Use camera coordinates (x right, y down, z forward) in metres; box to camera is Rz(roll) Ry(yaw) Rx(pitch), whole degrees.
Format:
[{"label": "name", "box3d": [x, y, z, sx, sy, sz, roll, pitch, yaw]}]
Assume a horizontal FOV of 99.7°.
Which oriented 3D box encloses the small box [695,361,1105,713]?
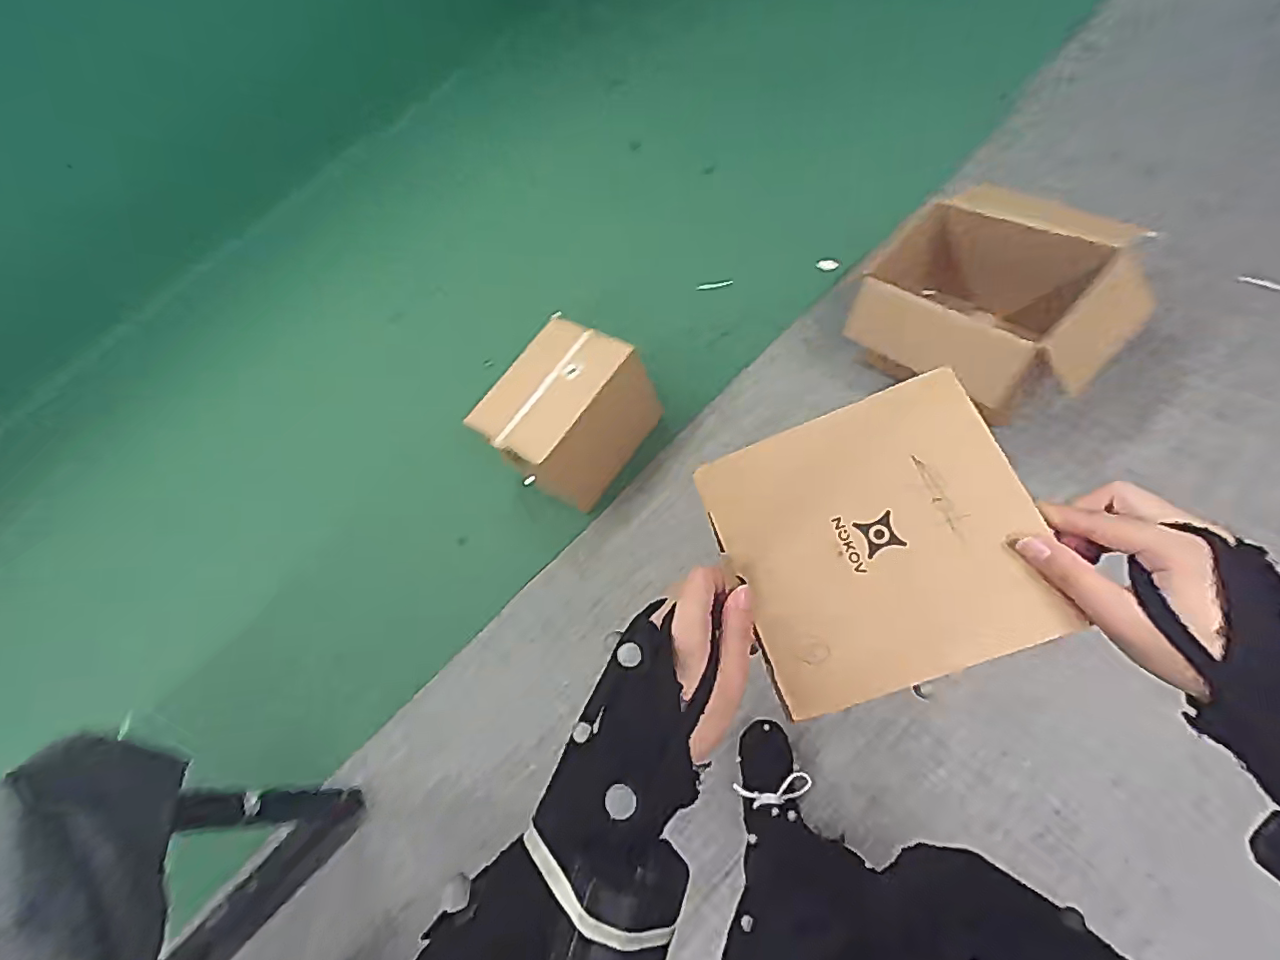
[{"label": "small box", "box3d": [0.158, 0.050, 0.391, 0.179, 0.176, 0.168, -22, 72, 7]}]
